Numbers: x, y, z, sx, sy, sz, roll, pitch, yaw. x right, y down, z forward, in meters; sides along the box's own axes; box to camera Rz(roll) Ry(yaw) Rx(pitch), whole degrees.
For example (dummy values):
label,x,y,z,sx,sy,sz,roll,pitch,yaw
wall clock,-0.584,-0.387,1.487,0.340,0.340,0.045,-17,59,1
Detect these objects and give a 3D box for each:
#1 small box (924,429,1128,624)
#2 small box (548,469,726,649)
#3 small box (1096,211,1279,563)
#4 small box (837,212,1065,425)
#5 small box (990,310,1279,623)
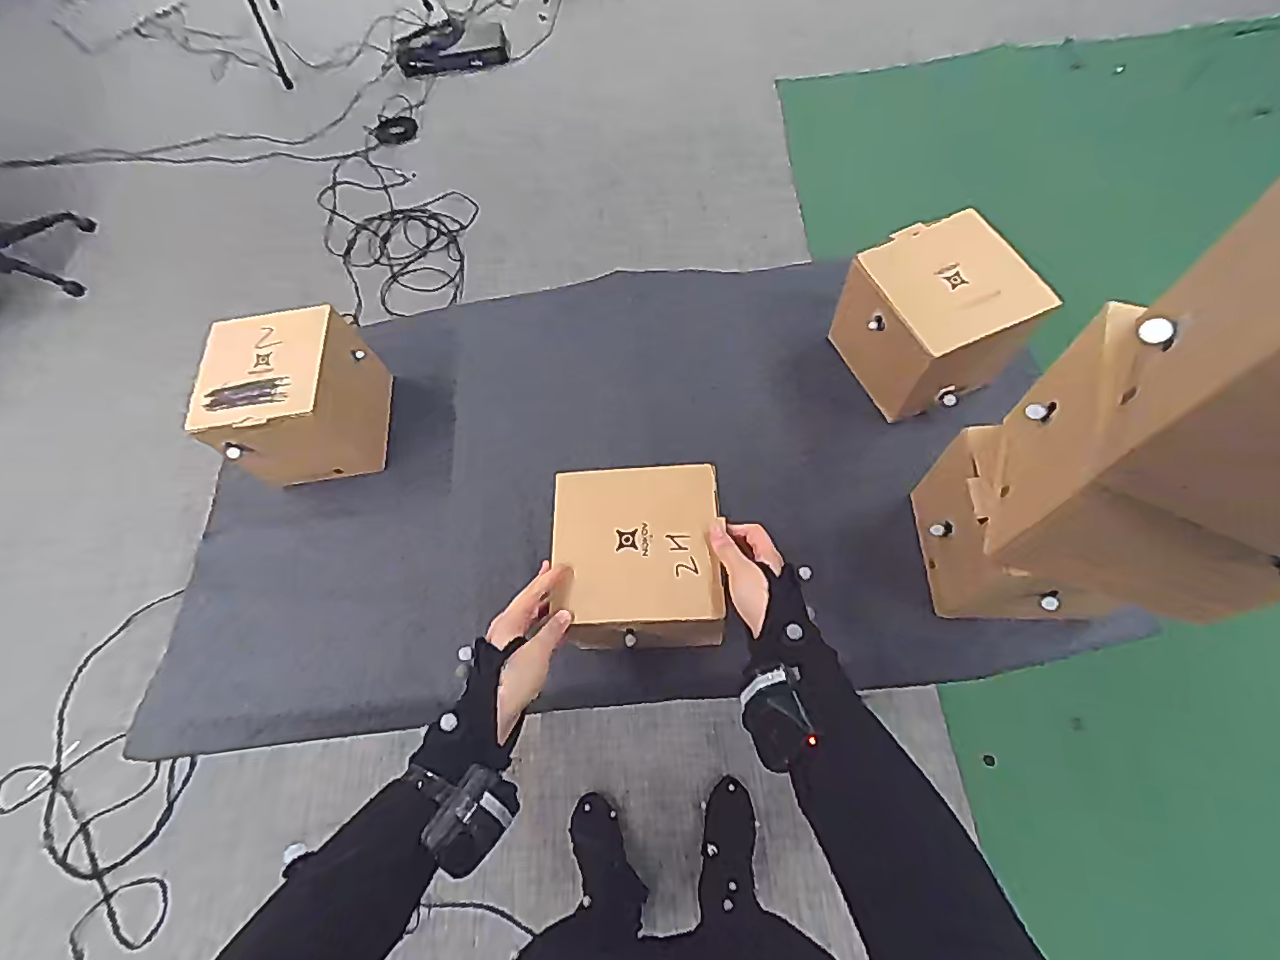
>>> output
label,x,y,z,sx,sy,sz,roll,pitch,yaw
small box,0.432,0.057,0.589,0.179,0.176,0.168,-1,63,7
small box,0.005,0.100,0.621,0.179,0.176,0.168,-3,66,5
small box,0.402,-0.055,0.280,0.179,0.176,0.168,28,69,19
small box,0.387,-0.205,0.716,0.168,0.176,0.179,-23,67,-1
small box,0.419,-0.002,0.437,0.179,0.176,0.168,19,66,15
